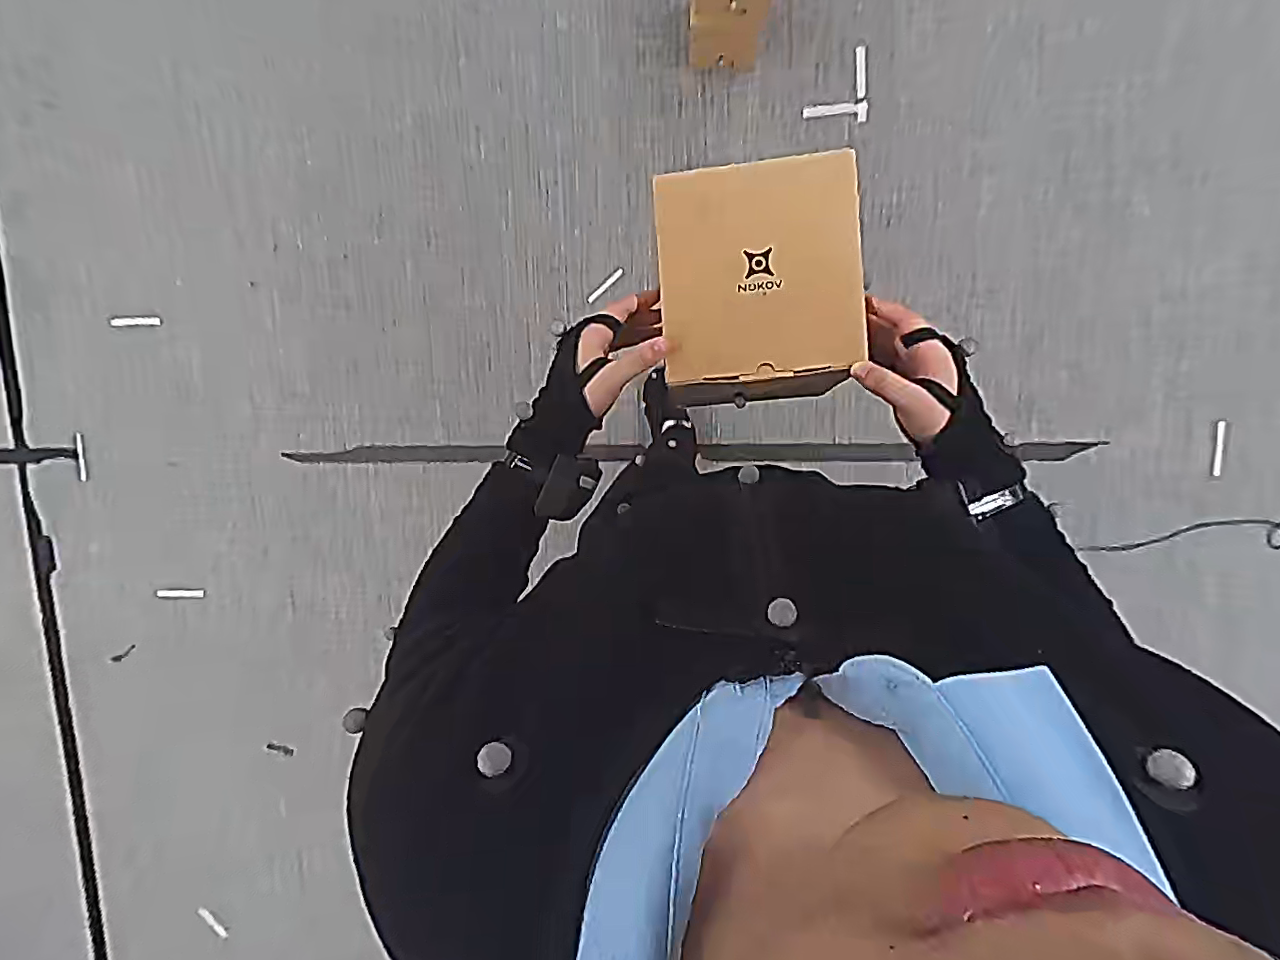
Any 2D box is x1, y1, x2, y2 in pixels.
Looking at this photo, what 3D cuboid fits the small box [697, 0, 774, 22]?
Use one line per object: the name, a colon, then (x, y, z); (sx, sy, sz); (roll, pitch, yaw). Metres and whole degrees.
small box: (0.204, -1.096, 1.110); (0.168, 0.176, 0.179); (4, 97, 5)
